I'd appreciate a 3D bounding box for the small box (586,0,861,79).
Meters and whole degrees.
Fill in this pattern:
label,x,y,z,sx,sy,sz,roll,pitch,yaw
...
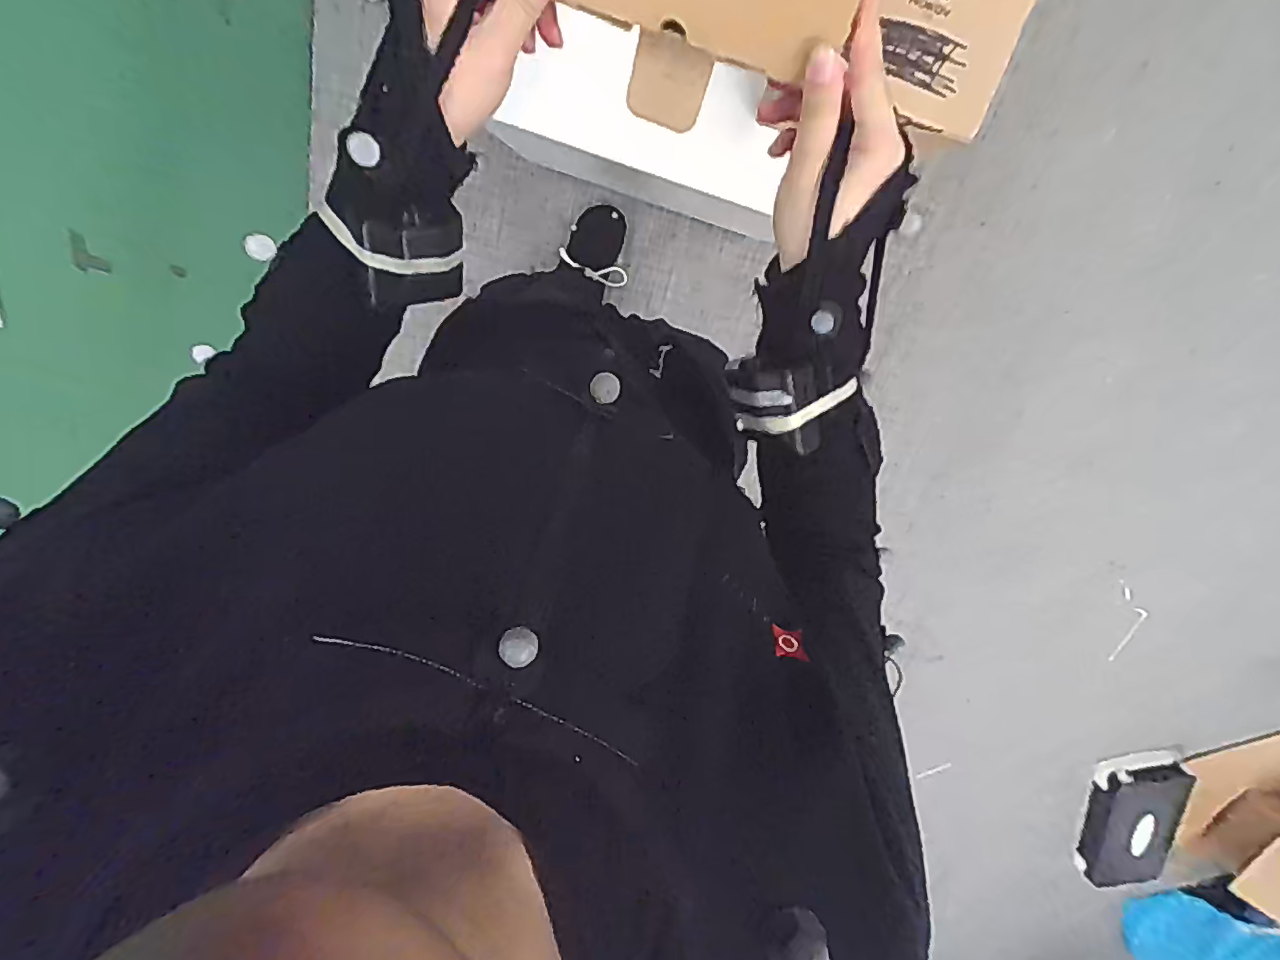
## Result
label,x,y,z,sx,sy,sz,roll,pitch,yaw
small box,0.053,-0.334,0.234,0.168,0.176,0.179,18,154,-1
